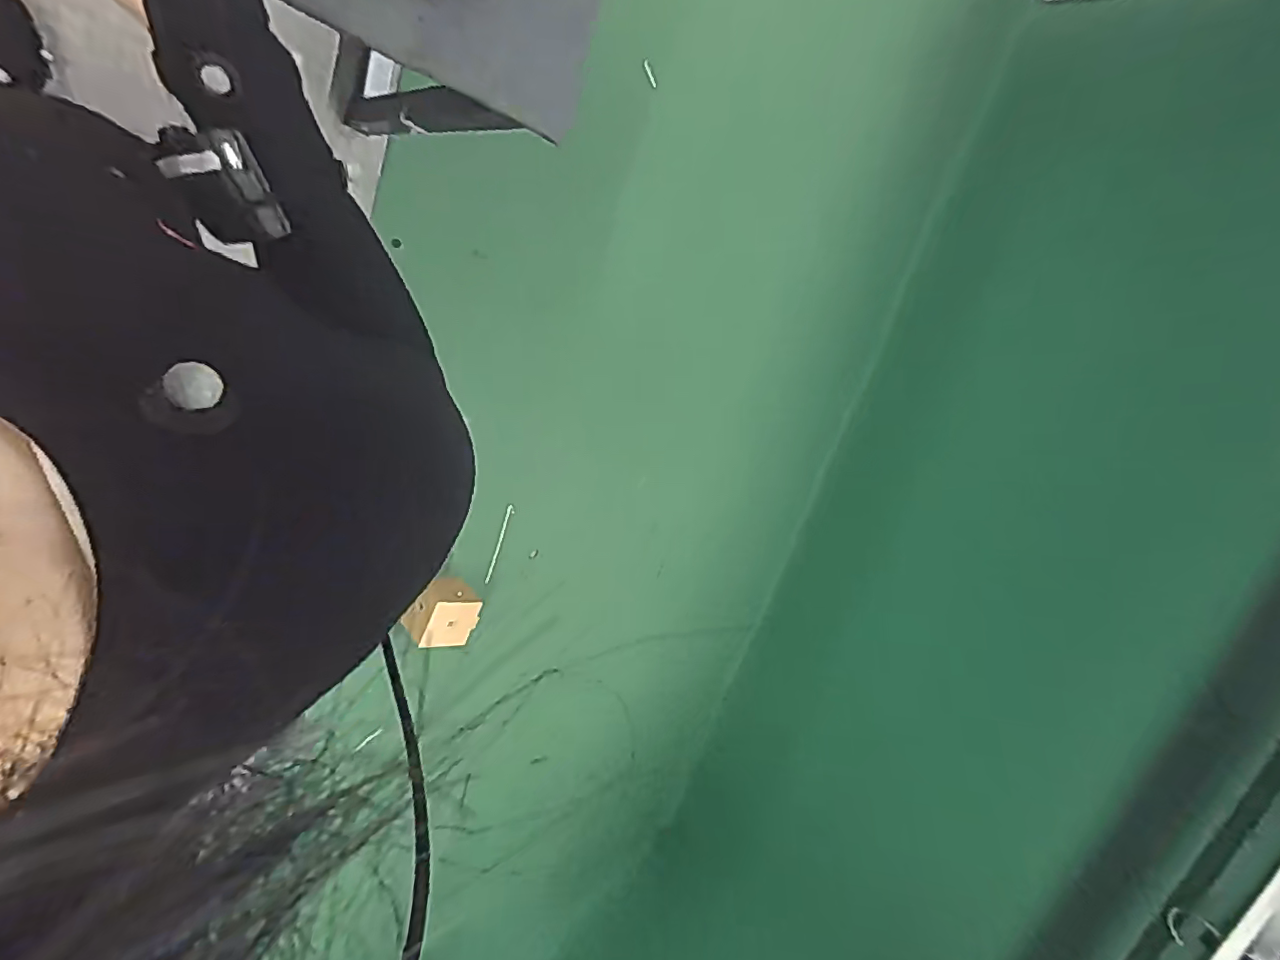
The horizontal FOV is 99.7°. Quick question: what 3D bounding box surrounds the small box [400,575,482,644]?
[{"bbox_3d":[-0.670,0.430,1.809,0.179,0.176,0.168,16,101,-51],"label":"small box"}]
